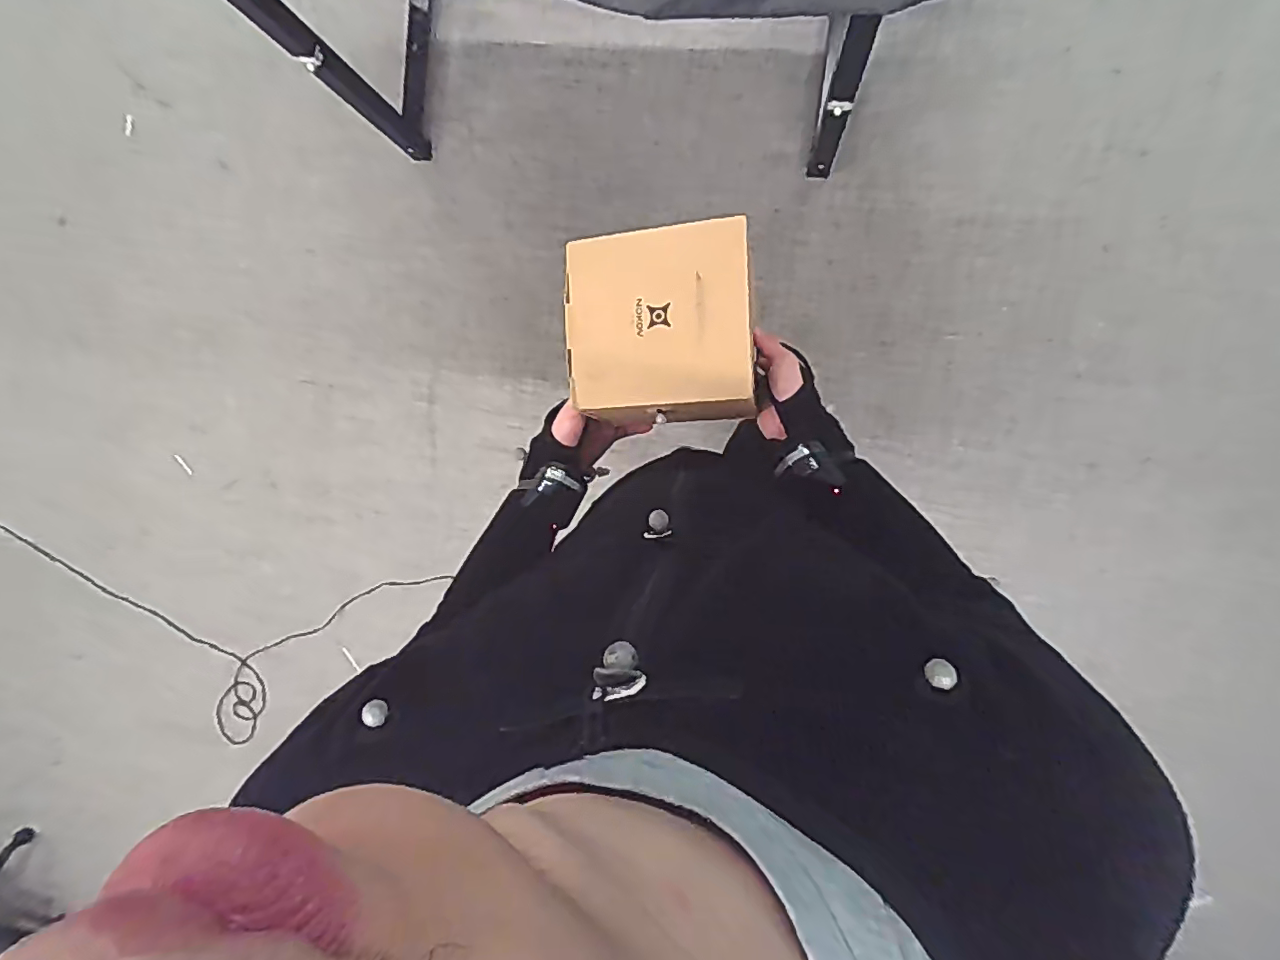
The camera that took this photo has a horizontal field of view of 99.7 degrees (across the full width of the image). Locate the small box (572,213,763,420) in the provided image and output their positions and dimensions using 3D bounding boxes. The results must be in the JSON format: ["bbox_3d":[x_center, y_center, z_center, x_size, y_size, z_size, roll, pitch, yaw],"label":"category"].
[{"bbox_3d":[0.039,-0.156,0.580,0.179,0.176,0.168,-2,91,14],"label":"small box"}]
